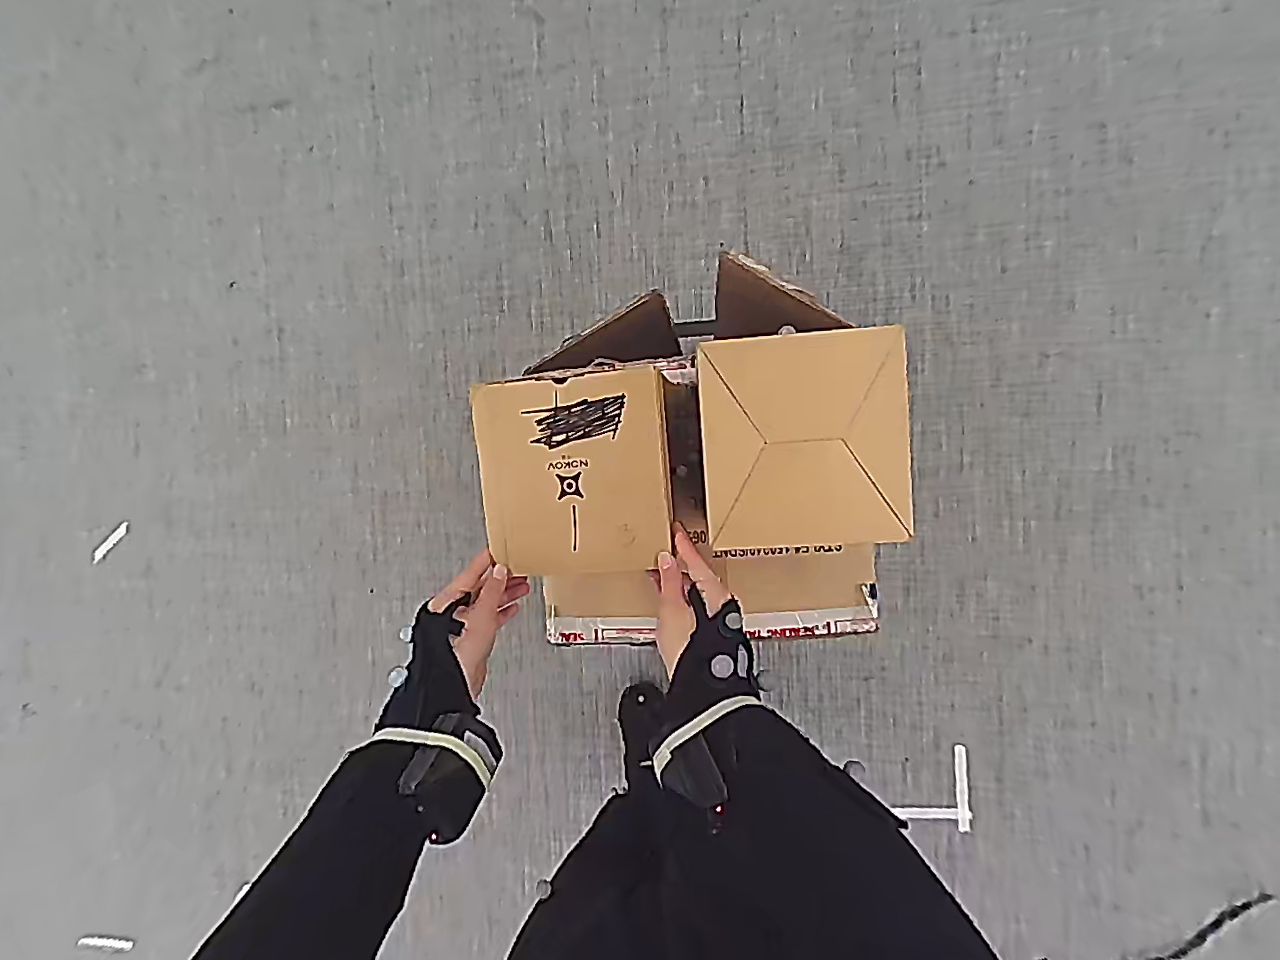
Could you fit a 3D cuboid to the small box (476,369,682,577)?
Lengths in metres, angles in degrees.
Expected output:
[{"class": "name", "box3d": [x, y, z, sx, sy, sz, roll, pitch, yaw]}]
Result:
[{"class": "small box", "box3d": [-0.048, -0.009, 0.551, 0.168, 0.176, 0.179, -4, 94, 9]}]

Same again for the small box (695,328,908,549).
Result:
[{"class": "small box", "box3d": [0.141, -0.035, 0.522, 0.168, 0.176, 0.179, -4, 94, 5]}]
